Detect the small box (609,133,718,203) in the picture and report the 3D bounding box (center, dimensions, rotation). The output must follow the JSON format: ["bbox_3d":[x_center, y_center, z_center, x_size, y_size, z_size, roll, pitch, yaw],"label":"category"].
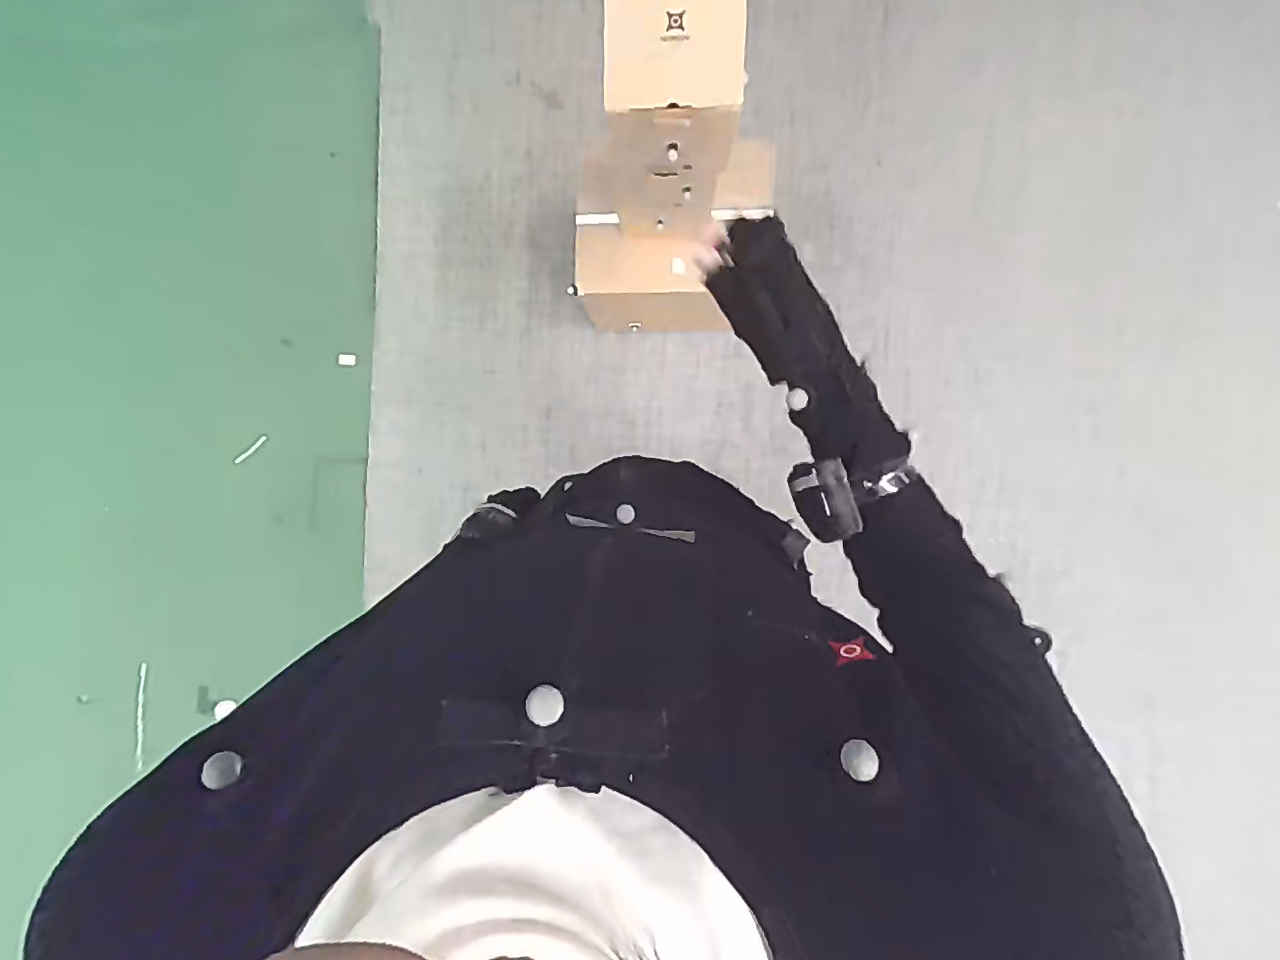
[{"bbox_3d":[0.043,-0.563,0.868,0.168,0.176,0.179,1,96,3],"label":"small box"}]

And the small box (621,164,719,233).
[{"bbox_3d":[0.057,-0.583,1.029,0.179,0.176,0.168,0,98,4],"label":"small box"}]

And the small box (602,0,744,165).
[{"bbox_3d":[0.044,-0.535,0.707,0.168,0.176,0.179,1,98,4],"label":"small box"}]
